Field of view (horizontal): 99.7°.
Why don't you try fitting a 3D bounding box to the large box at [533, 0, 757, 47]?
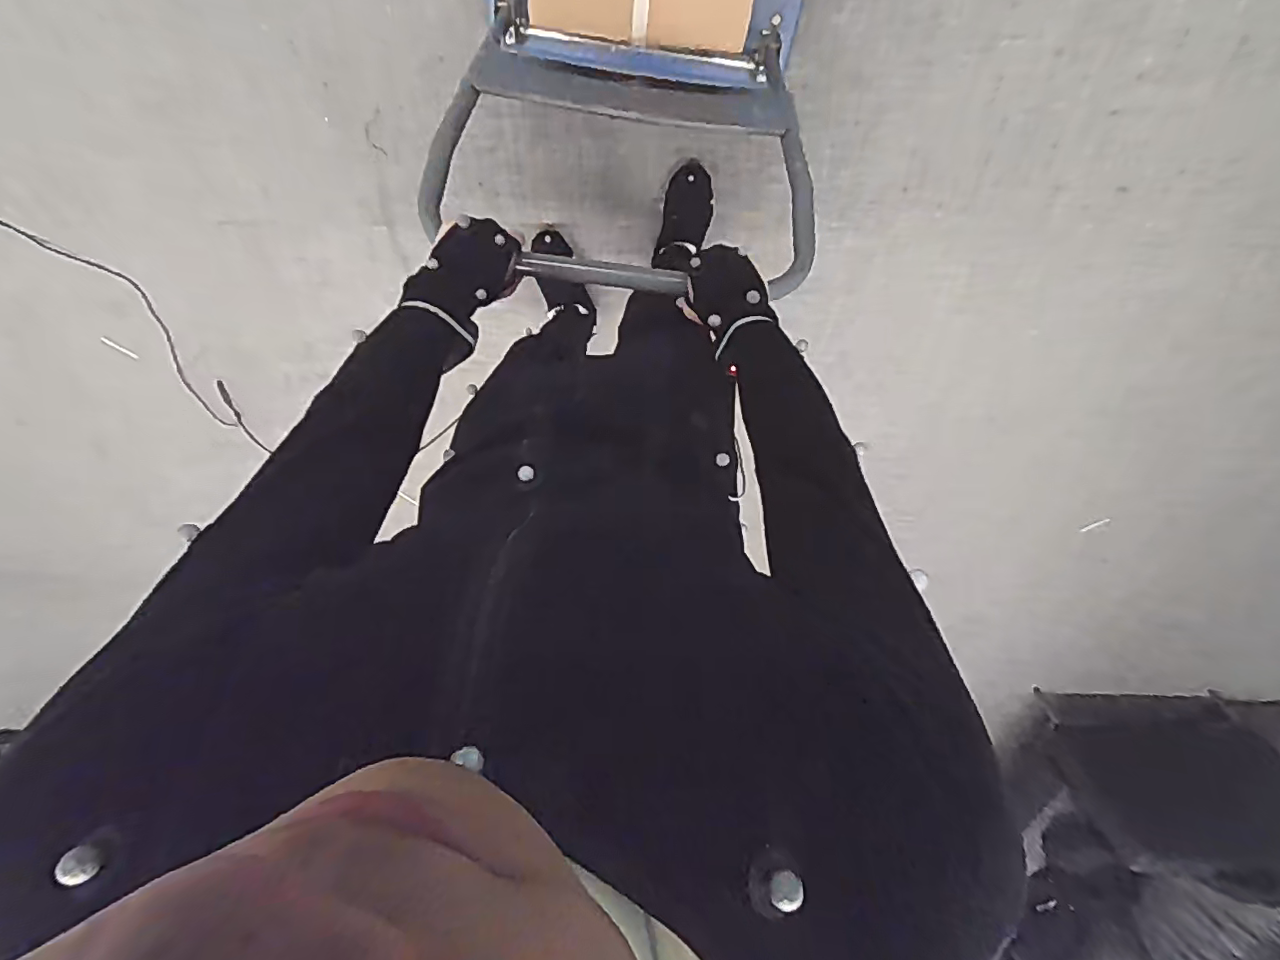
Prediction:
[{"bbox_3d":[0.028,-0.874,0.713,0.320,0.320,0.408,6,142,-3],"label":"large box"}]
